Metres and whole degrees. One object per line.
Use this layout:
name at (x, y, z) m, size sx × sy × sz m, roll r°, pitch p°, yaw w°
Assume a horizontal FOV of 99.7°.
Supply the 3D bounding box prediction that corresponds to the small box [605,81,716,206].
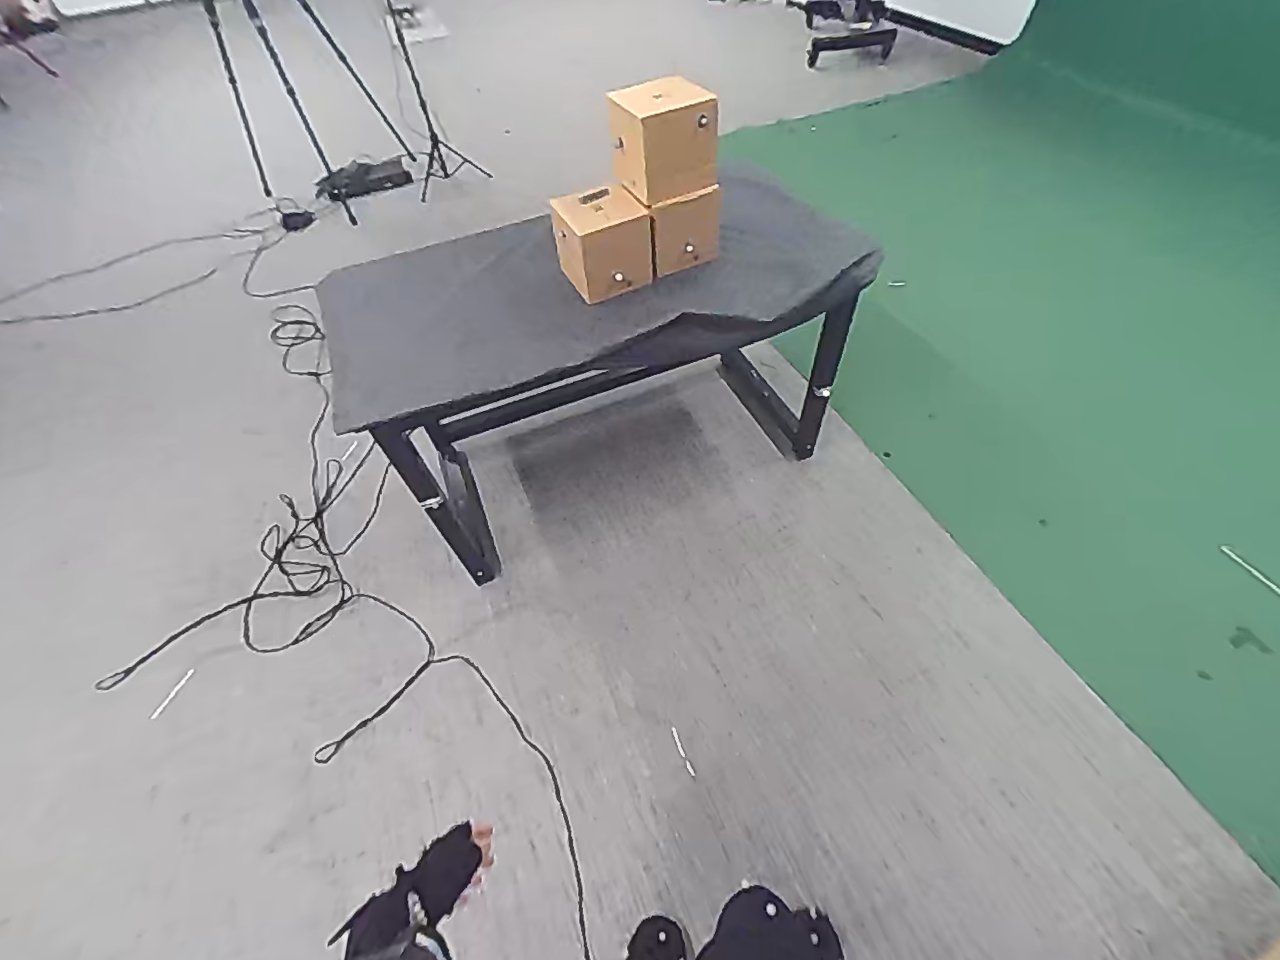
small box at (0.045, -0.710, 1.148) m, size 0.179 × 0.176 × 0.168 m, roll -24°, pitch 54°, yaw -14°
